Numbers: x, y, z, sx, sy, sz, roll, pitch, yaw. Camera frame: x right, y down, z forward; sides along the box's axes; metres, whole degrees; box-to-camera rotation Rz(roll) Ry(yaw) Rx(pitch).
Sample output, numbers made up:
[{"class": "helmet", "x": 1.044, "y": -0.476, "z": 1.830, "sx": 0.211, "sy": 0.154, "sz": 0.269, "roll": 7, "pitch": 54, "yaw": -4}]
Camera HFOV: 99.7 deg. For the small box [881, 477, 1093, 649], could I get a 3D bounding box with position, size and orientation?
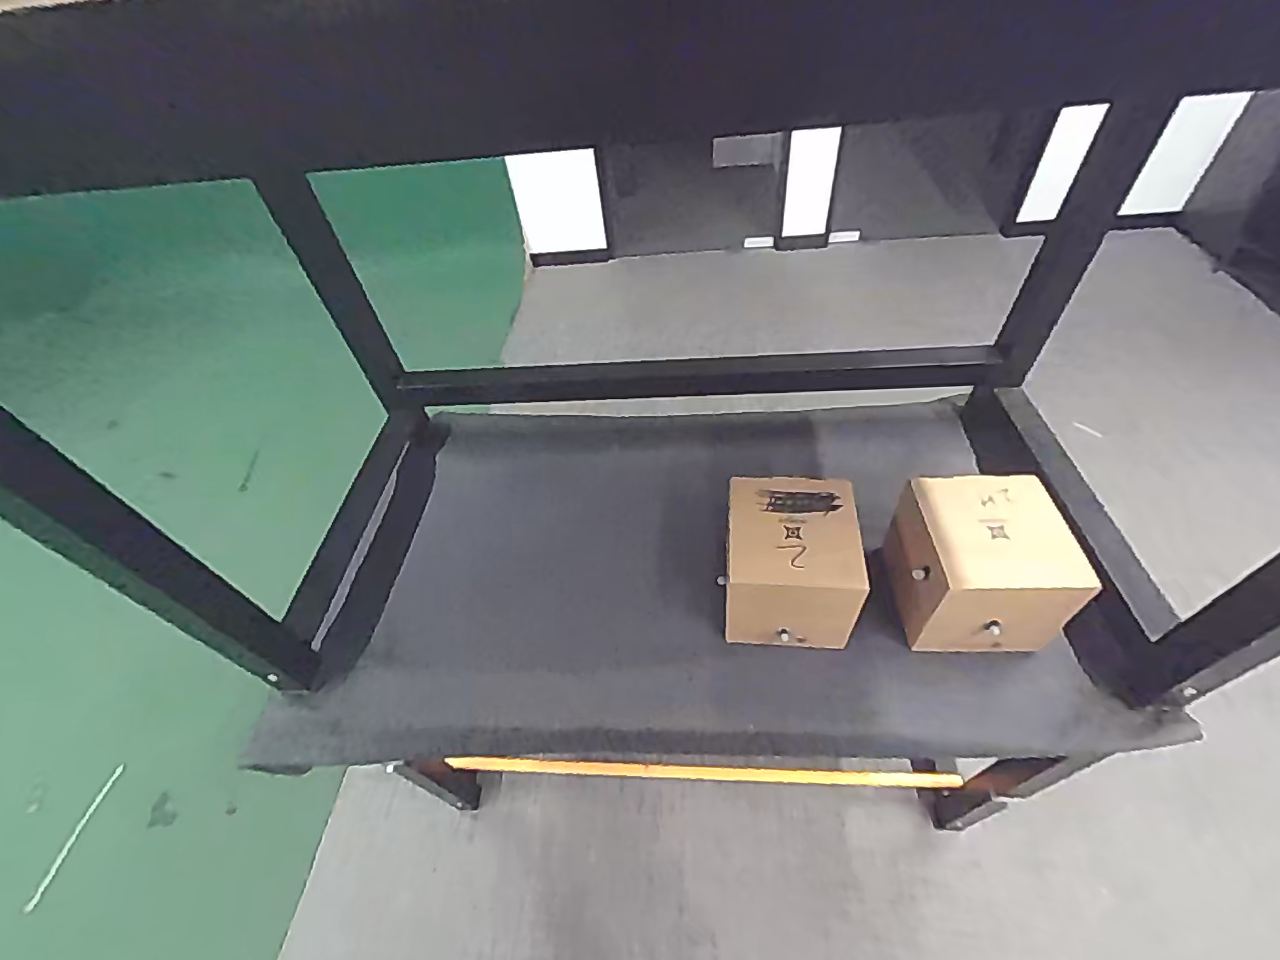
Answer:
[{"class": "small box", "x": 0.448, "y": 0.116, "z": 0.736, "sx": 0.168, "sy": 0.176, "sz": 0.179, "roll": -1, "pitch": 47, "yaw": 6}]
